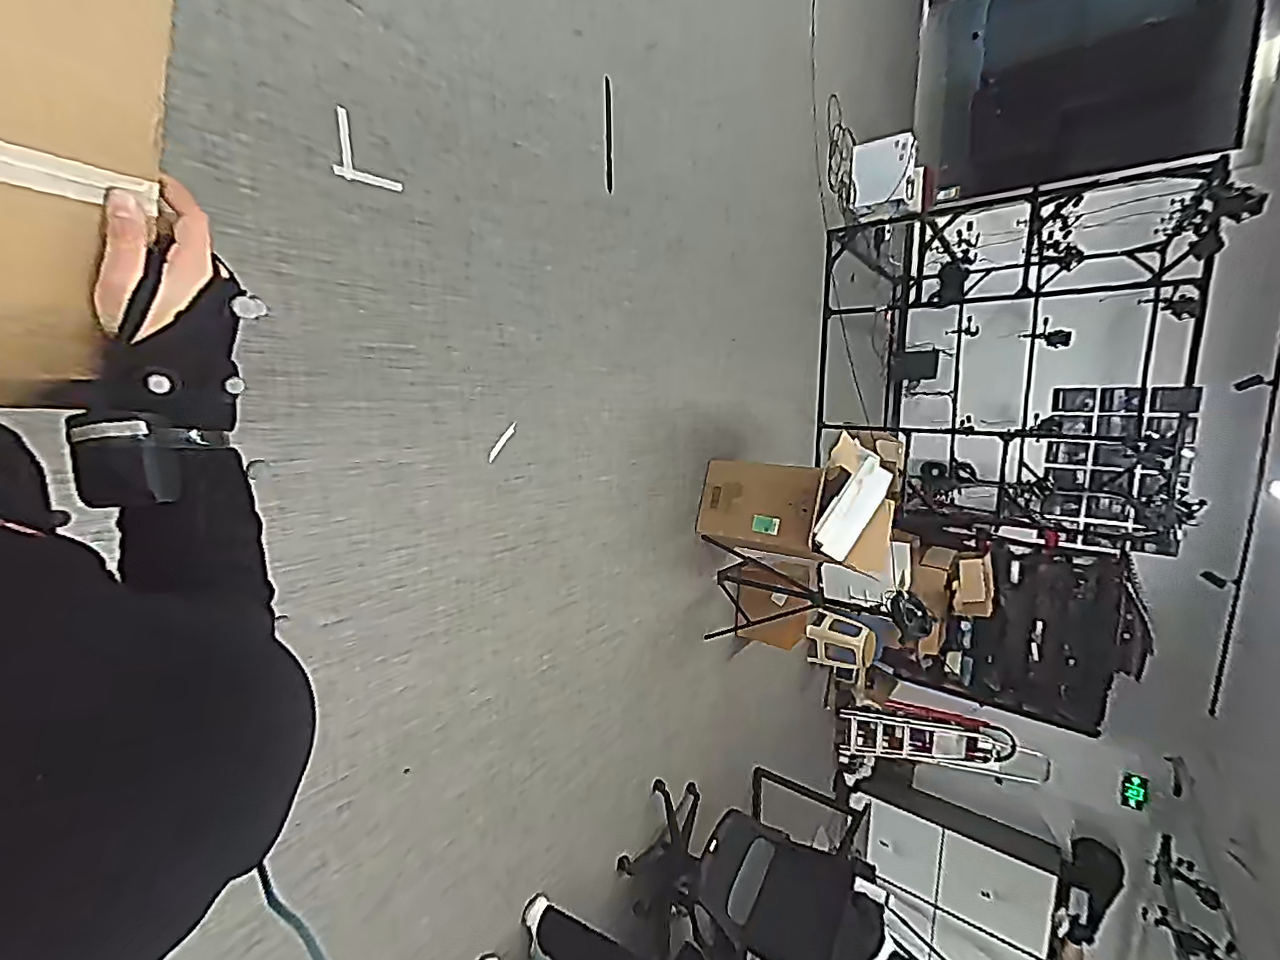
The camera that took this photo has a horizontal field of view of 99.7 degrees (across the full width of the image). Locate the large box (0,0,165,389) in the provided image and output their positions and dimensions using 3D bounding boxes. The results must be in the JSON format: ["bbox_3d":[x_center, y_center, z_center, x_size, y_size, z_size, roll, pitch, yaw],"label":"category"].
[{"bbox_3d":[-0.532,-0.257,0.248,0.408,0.320,0.320,-9,136,-55],"label":"large box"}]
